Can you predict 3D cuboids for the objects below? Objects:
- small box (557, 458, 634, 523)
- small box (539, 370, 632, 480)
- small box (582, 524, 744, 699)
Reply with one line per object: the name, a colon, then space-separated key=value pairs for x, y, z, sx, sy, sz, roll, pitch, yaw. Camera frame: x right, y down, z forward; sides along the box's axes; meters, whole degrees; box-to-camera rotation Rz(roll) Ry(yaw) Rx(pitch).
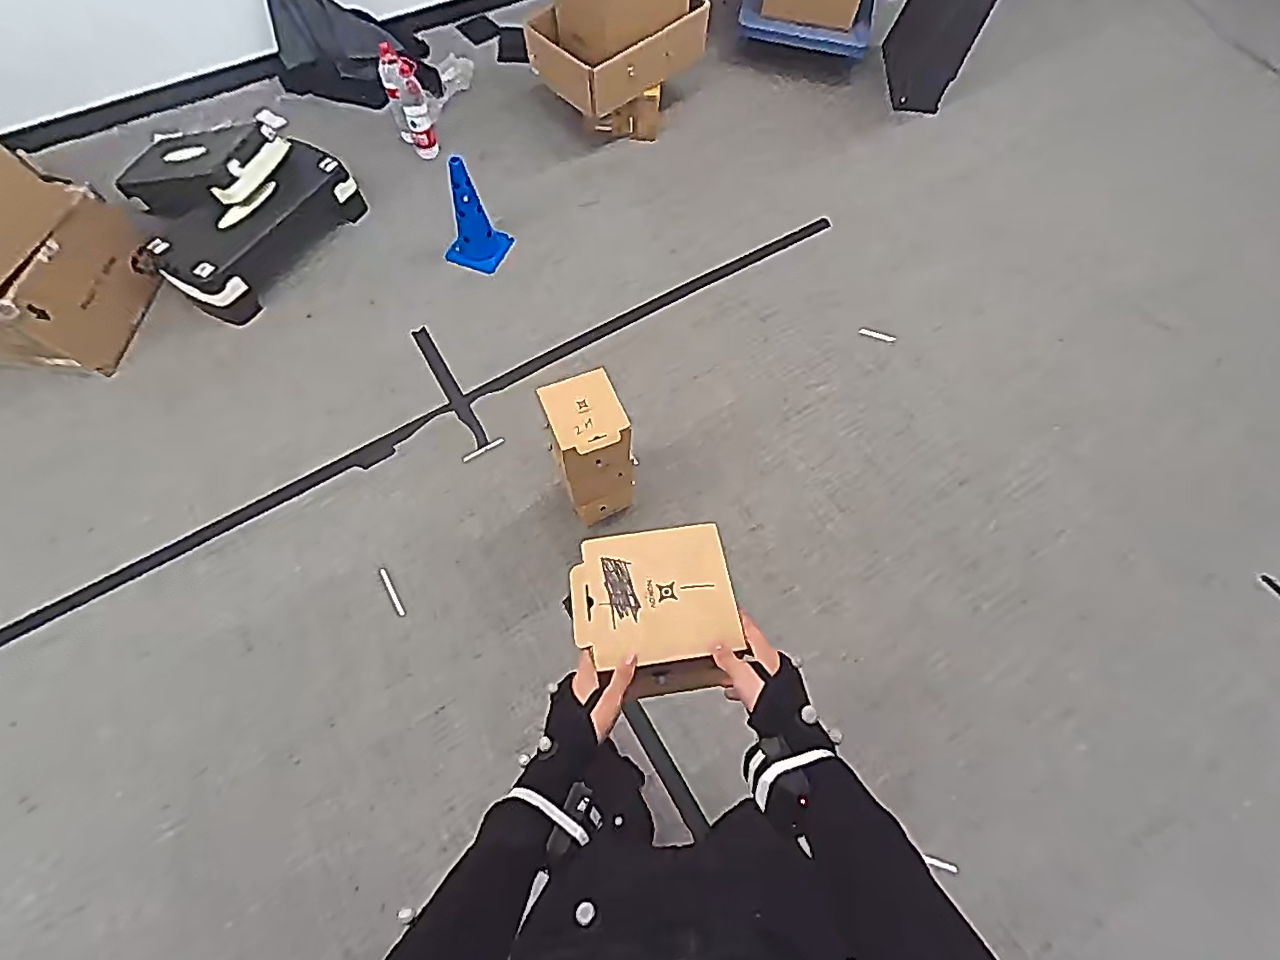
small box: x=-0.127 y=0.009 z=1.590 sx=0.168 sy=0.176 sz=0.179 roll=-26 pitch=70 yaw=-13
small box: x=-0.130 y=-0.126 z=1.288 sx=0.168 sy=0.176 sz=0.179 roll=-20 pitch=69 yaw=-11
small box: x=0.024 y=0.177 z=0.710 sx=0.179 sy=0.176 sz=0.168 roll=-7 pitch=57 yaw=-4
